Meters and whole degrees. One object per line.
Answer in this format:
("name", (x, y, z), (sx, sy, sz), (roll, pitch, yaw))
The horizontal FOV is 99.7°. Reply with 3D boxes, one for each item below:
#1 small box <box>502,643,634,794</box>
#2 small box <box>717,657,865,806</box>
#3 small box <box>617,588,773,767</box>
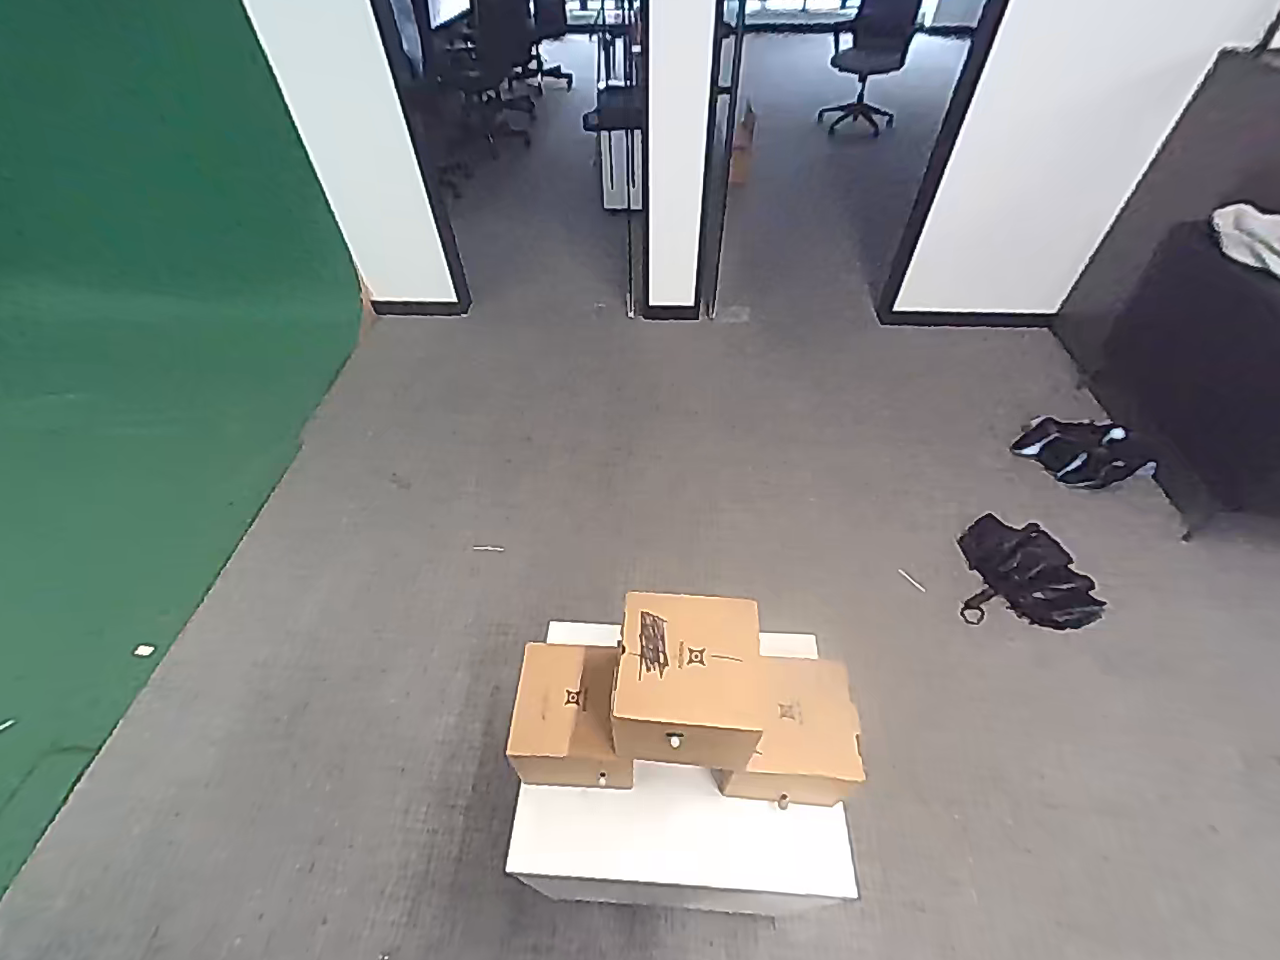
("small box", (-0.098, 0.366, 0.826), (0.179, 0.176, 0.168), (2, 47, -1))
("small box", (0.215, 0.385, 0.825), (0.179, 0.176, 0.168), (3, 48, 2))
("small box", (0.064, 0.261, 0.707), (0.179, 0.176, 0.168), (5, 48, 1))
